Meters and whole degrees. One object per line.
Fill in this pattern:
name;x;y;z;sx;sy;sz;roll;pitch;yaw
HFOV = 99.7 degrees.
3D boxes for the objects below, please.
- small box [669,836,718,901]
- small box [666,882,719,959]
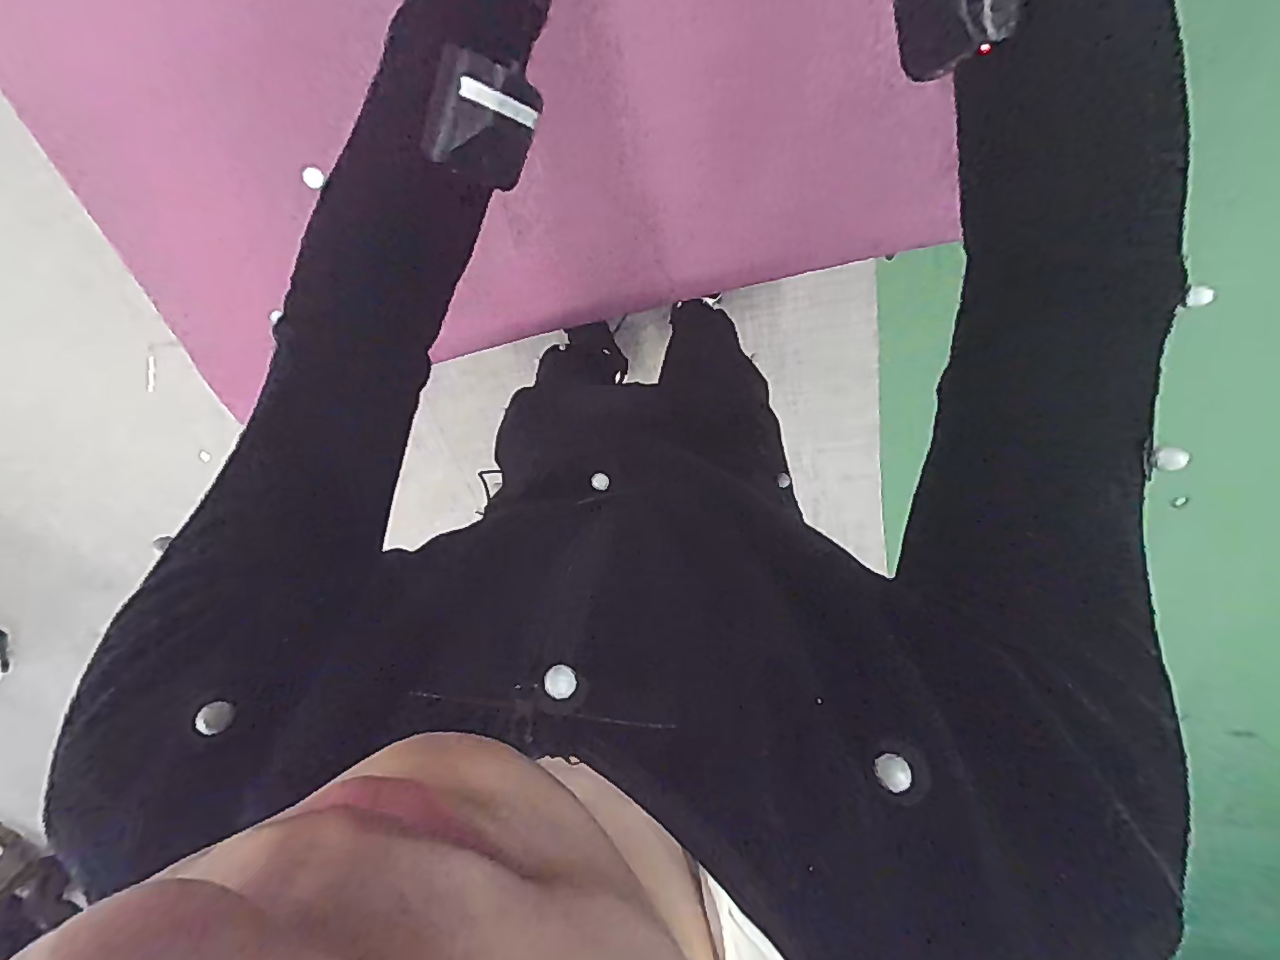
small box;0.210;1.504;2.079;0.168;0.176;0.179;-7;119;10
small box;0.194;1.583;1.939;0.168;0.176;0.179;-7;119;11
